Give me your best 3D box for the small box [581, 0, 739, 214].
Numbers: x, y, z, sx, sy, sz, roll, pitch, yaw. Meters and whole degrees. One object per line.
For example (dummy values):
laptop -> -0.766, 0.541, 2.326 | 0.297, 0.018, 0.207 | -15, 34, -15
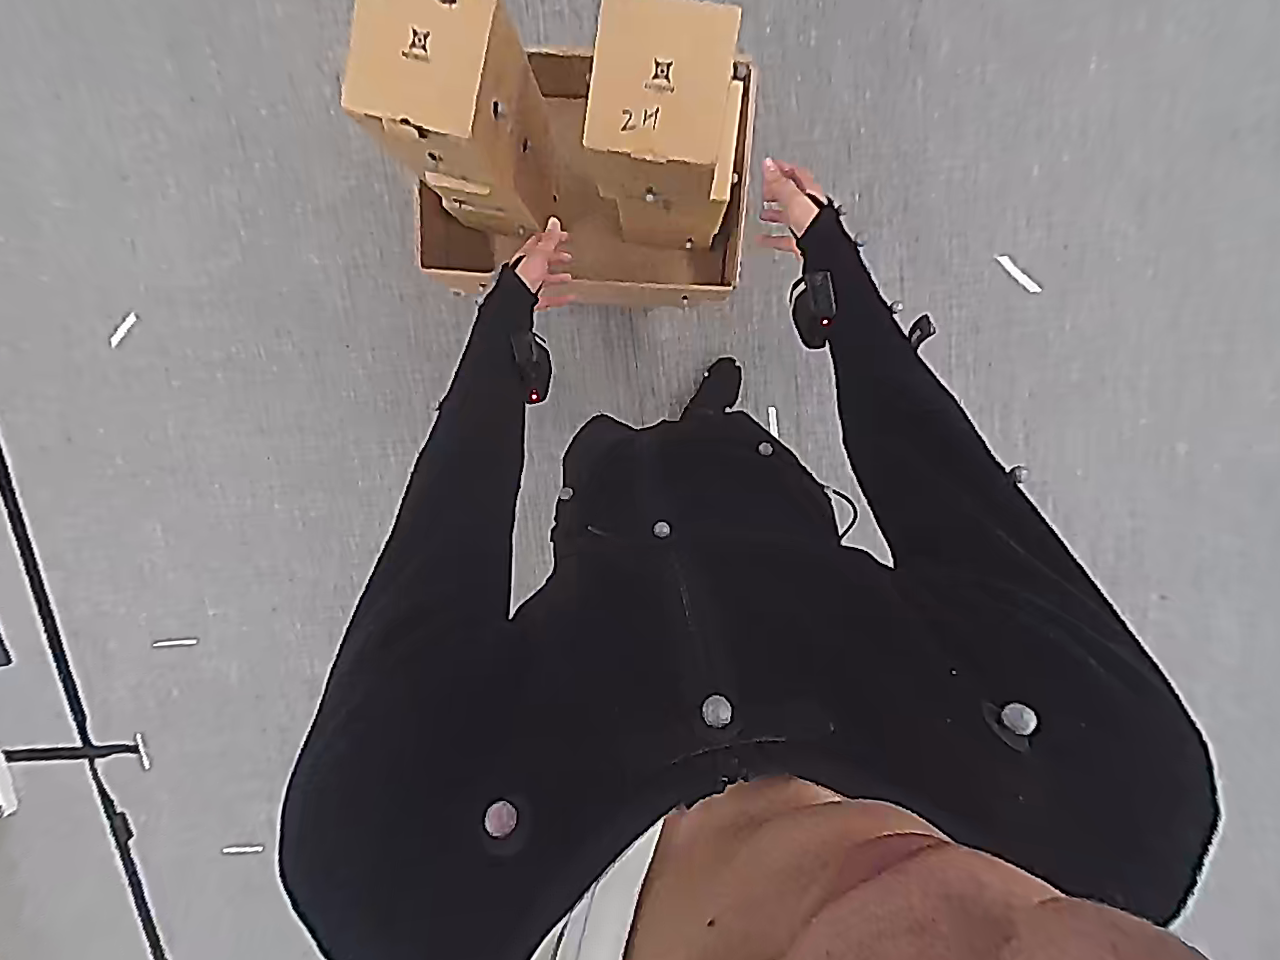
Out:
small box -> 0.026, -0.483, 0.719 | 0.168, 0.176, 0.179 | 10, 99, 2

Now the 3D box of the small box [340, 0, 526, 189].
small box -> -0.263, -0.521, 0.723 | 0.168, 0.176, 0.179 | 15, 100, -1

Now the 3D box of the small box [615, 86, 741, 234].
small box -> 0.057, -0.514, 0.880 | 0.179, 0.176, 0.168 | 6, 99, 2

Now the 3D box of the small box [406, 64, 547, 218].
small box -> -0.258, -0.553, 0.885 | 0.168, 0.176, 0.179 | 11, 99, 0
